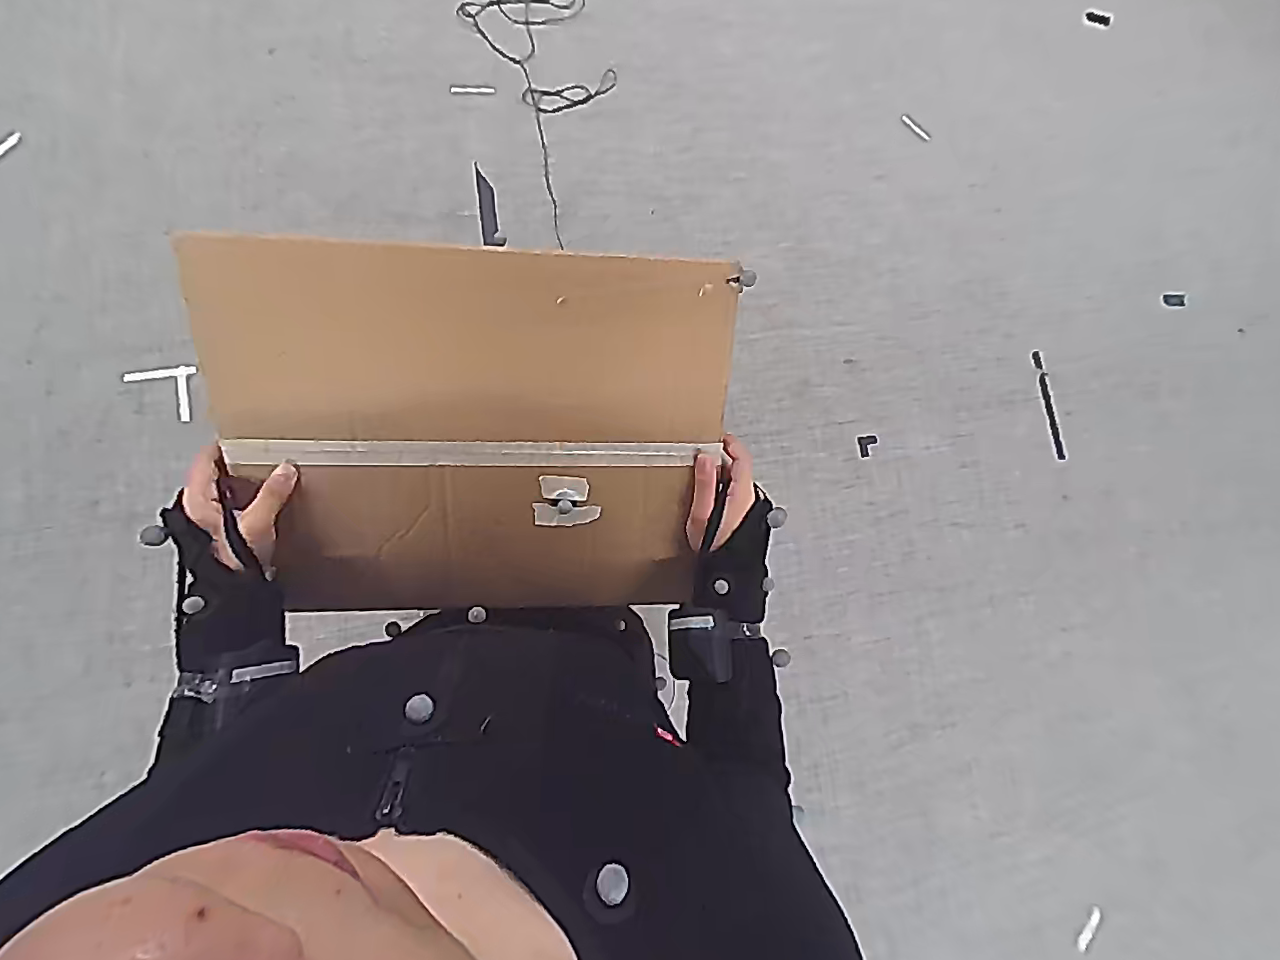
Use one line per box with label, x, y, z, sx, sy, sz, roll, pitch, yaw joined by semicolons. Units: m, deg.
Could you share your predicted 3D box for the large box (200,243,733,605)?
large box;-0.145;-0.086;0.602;0.408;0.320;0.320;-1;113;-8
